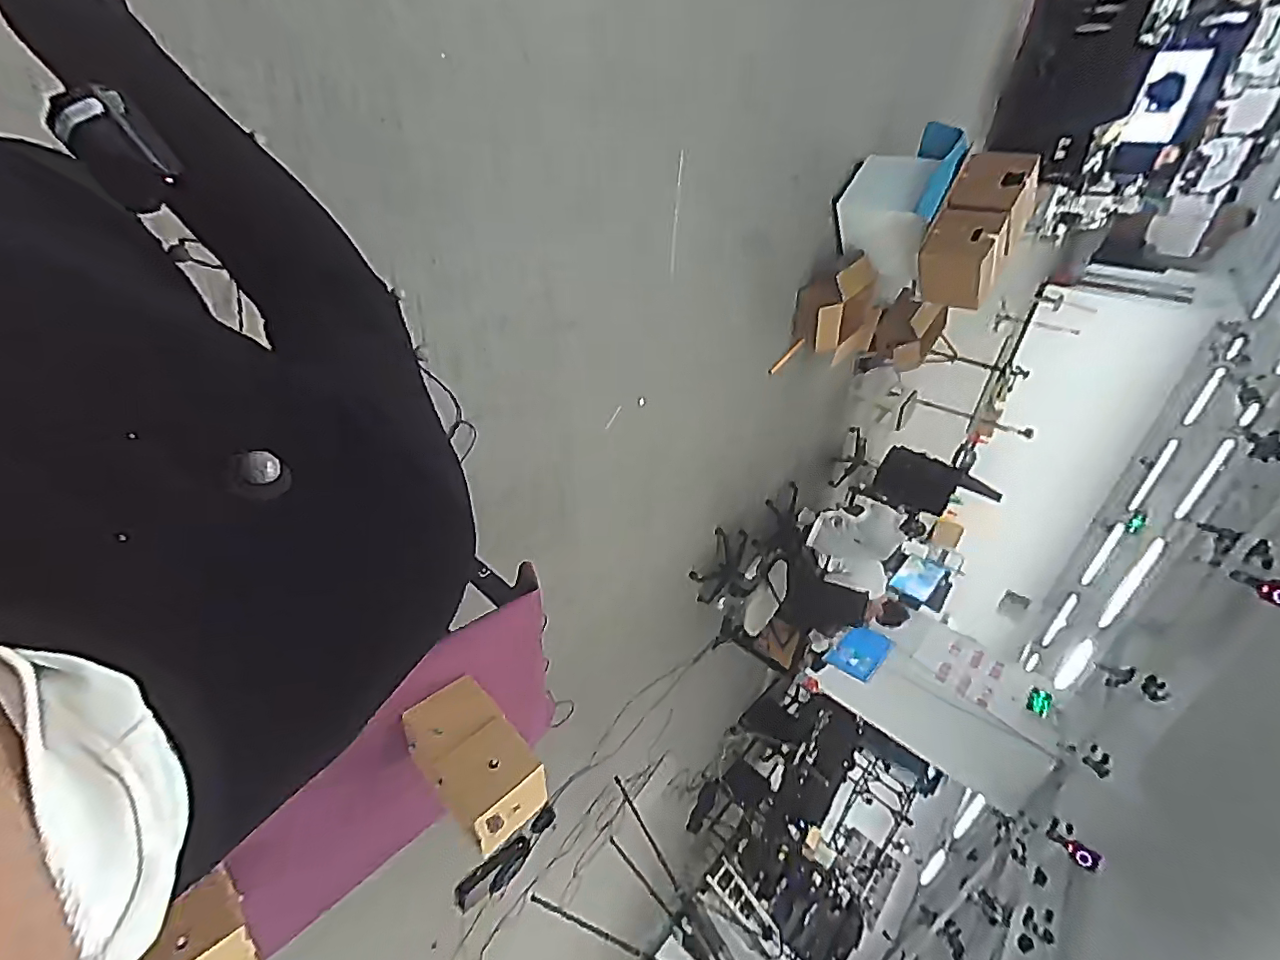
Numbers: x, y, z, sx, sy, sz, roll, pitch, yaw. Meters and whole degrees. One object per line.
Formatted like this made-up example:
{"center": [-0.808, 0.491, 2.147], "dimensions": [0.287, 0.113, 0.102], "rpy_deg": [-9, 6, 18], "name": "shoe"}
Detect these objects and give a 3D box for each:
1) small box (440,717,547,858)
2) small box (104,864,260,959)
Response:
{"center": [-0.333, 0.685, 1.221], "dimensions": [0.179, 0.176, 0.168], "rpy_deg": [-30, 135, -40], "name": "small box"}
{"center": [-0.825, 0.861, 0.979], "dimensions": [0.179, 0.176, 0.168], "rpy_deg": [-24, 130, -46], "name": "small box"}
